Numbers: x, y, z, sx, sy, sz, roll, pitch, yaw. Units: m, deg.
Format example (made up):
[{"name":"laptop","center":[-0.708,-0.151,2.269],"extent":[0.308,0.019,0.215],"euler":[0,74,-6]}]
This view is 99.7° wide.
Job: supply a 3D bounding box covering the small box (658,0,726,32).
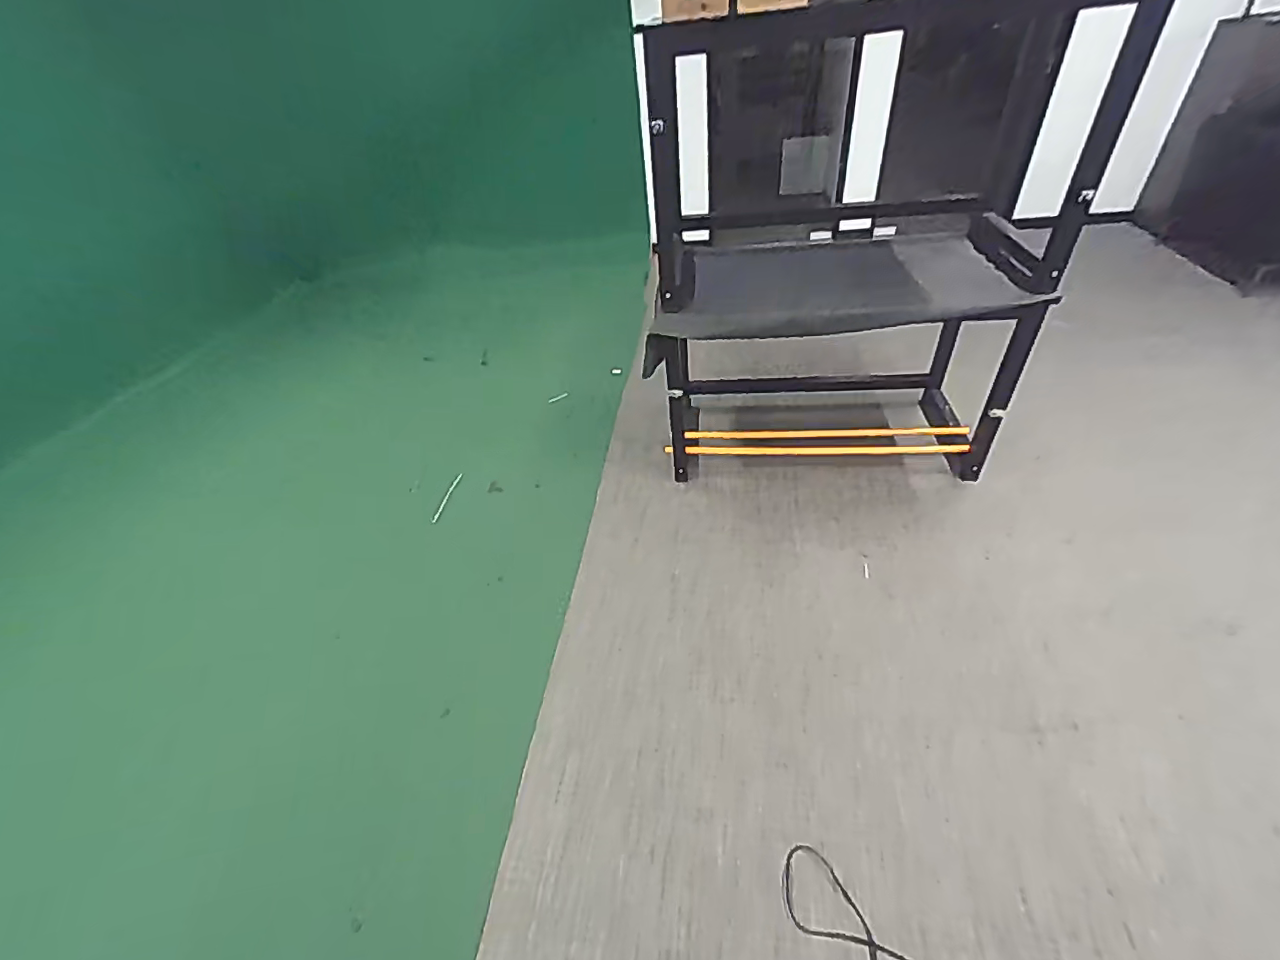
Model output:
[{"name":"small box","center":[0.130,-1.238,1.355],"extent":[0.168,0.176,0.179],"euler":[-1,42,7]}]
